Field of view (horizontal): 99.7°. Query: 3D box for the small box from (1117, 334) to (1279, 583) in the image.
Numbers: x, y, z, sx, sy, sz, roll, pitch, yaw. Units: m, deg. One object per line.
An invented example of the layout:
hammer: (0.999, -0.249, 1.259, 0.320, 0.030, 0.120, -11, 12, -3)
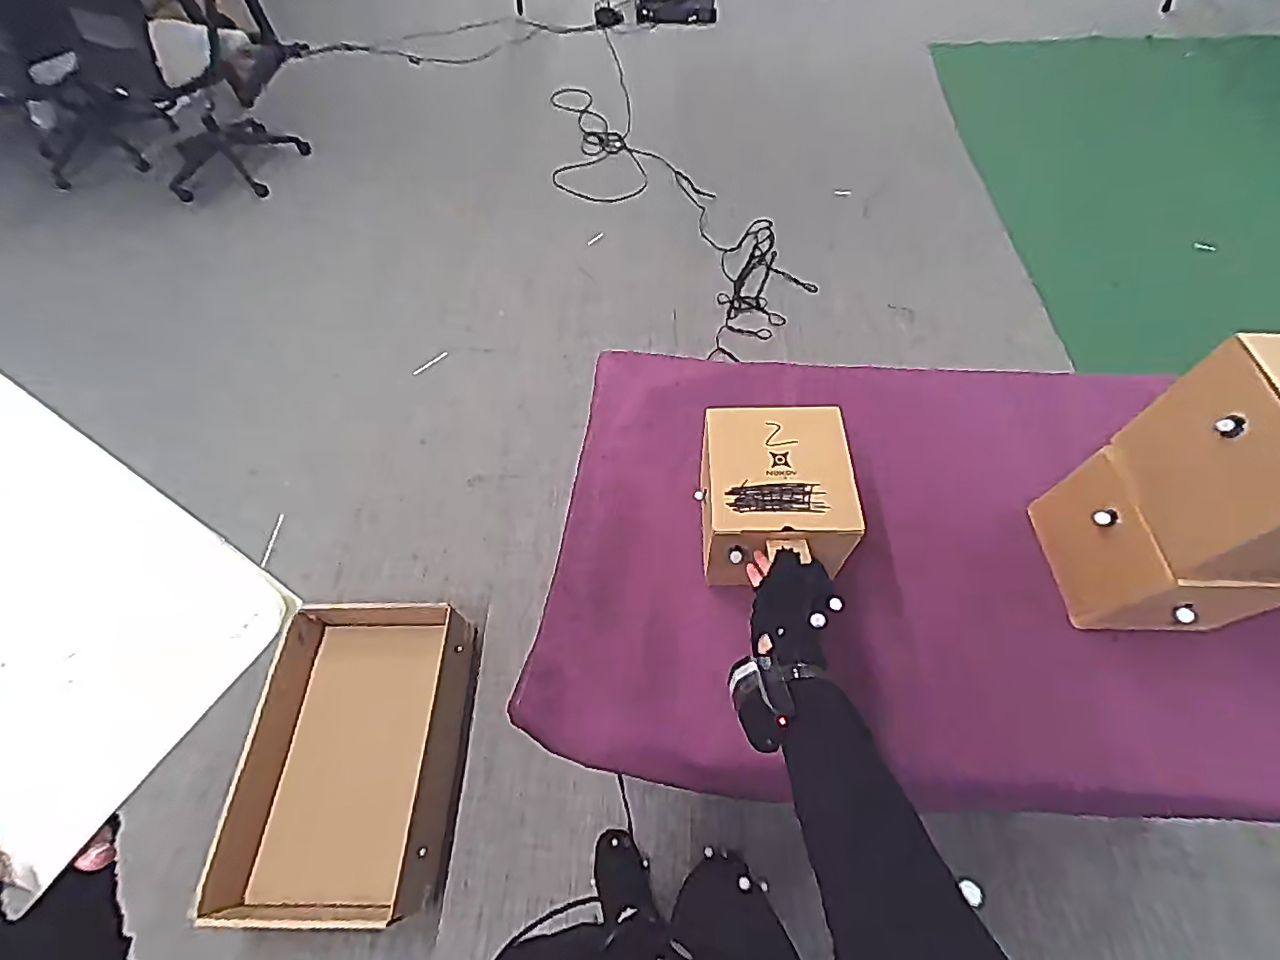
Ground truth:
small box: (0.617, -0.015, 0.514, 0.168, 0.176, 0.179, 2, 59, 5)

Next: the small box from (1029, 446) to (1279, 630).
small box: (0.622, 0.076, 0.652, 0.168, 0.176, 0.179, 0, 59, 3)
